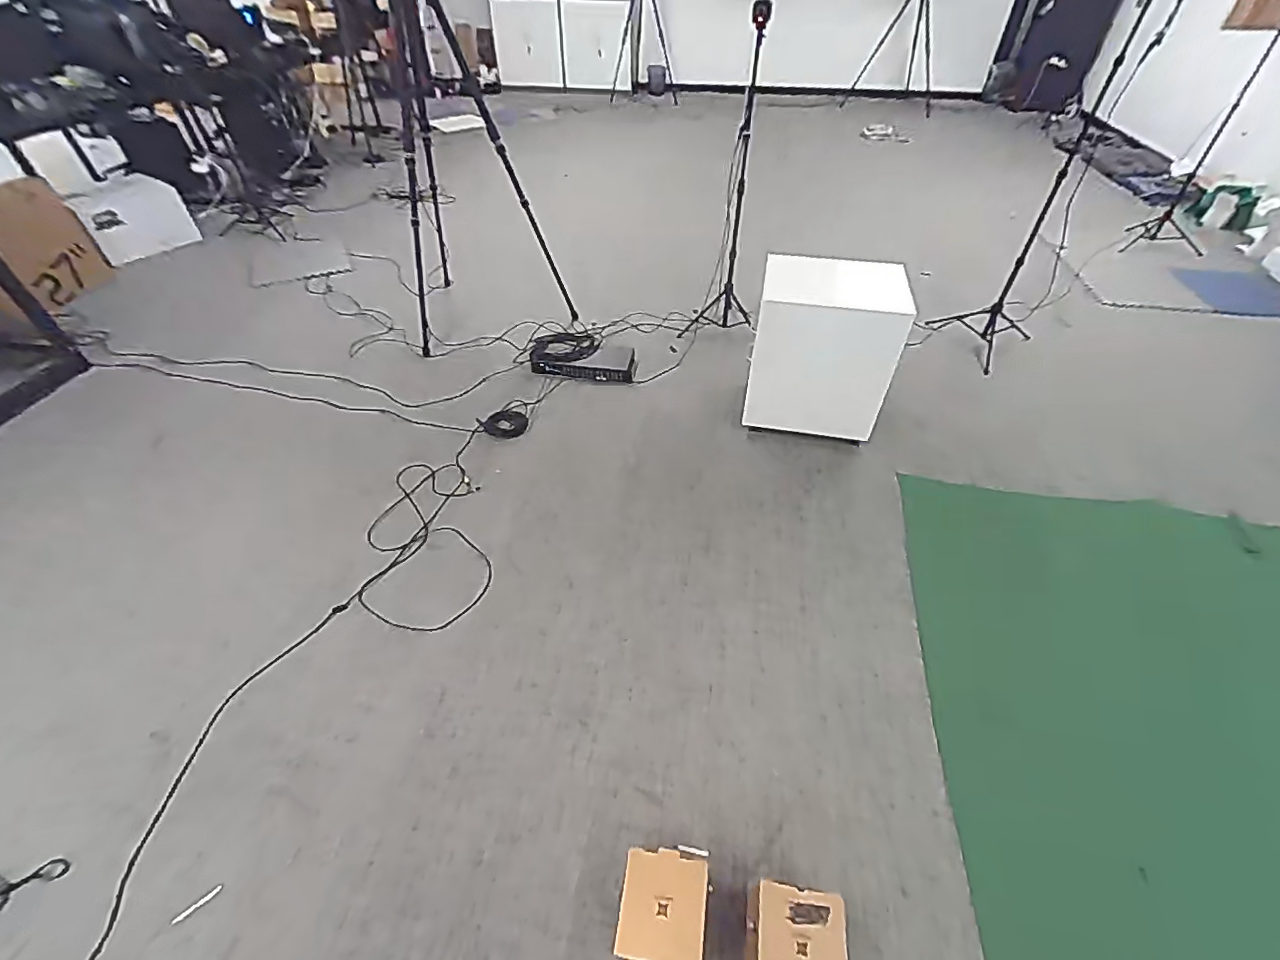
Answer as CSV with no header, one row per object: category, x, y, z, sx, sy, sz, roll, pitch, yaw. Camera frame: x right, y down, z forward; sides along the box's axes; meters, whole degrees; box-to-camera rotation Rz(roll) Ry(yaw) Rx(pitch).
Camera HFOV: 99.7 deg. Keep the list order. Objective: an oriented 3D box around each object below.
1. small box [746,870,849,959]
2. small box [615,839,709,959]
small box,0.306,0.908,1.072,0.168,0.176,0.179,7,47,7
small box,0.048,0.870,1.109,0.168,0.176,0.179,7,46,6
